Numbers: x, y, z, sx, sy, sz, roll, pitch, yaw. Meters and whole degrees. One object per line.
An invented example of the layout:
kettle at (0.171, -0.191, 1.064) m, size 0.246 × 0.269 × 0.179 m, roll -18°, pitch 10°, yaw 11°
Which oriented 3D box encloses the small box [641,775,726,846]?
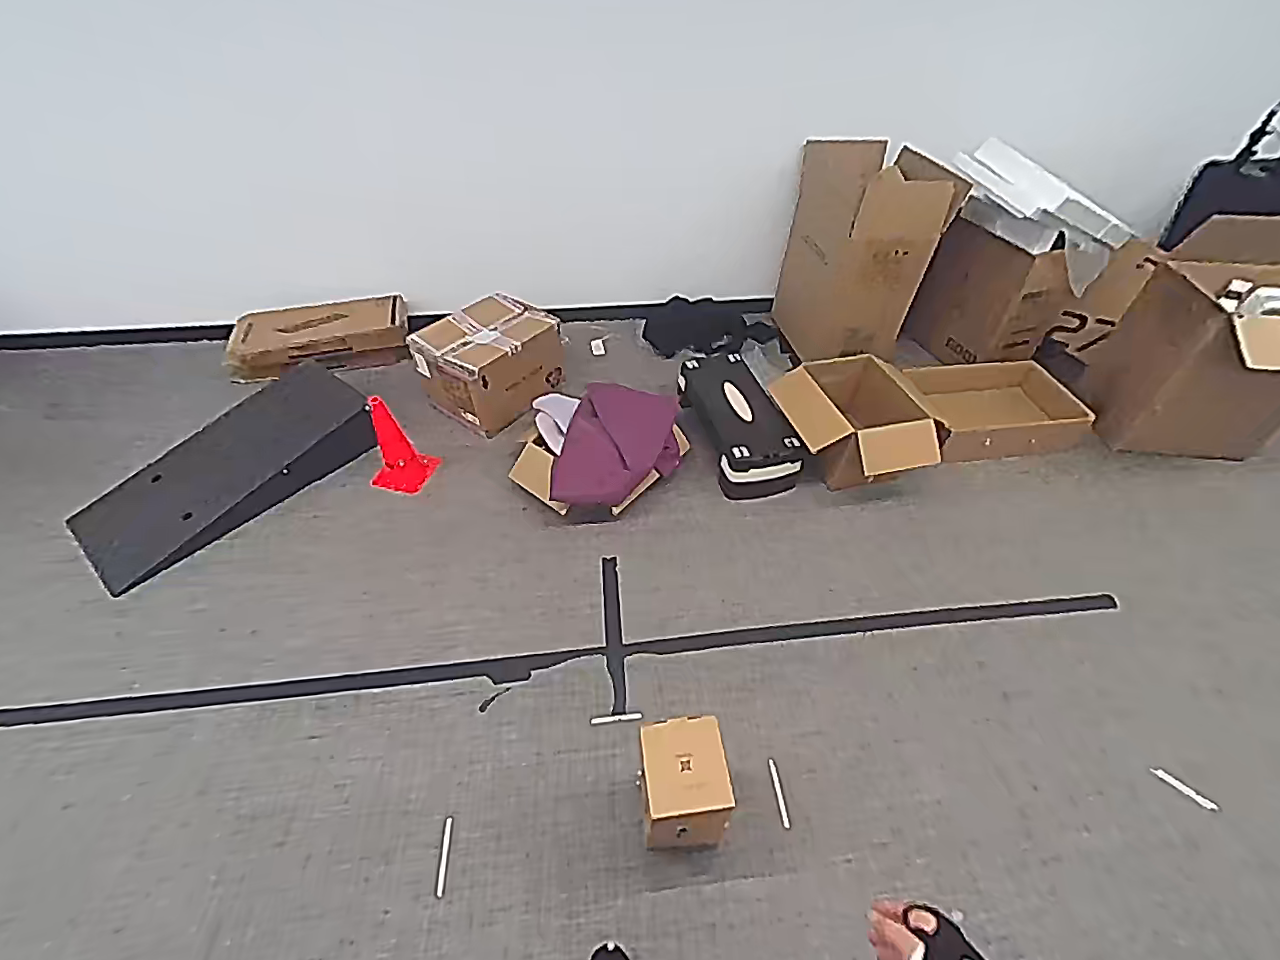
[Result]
small box at (0.093, 0.735, 1.255) m, size 0.179 × 0.176 × 0.168 m, roll -1°, pitch 46°, yaw -3°

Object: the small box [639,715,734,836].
small box at (0.089, 0.622, 1.139) m, size 0.168 × 0.176 × 0.179 m, roll -6°, pitch 48°, yaw -5°
